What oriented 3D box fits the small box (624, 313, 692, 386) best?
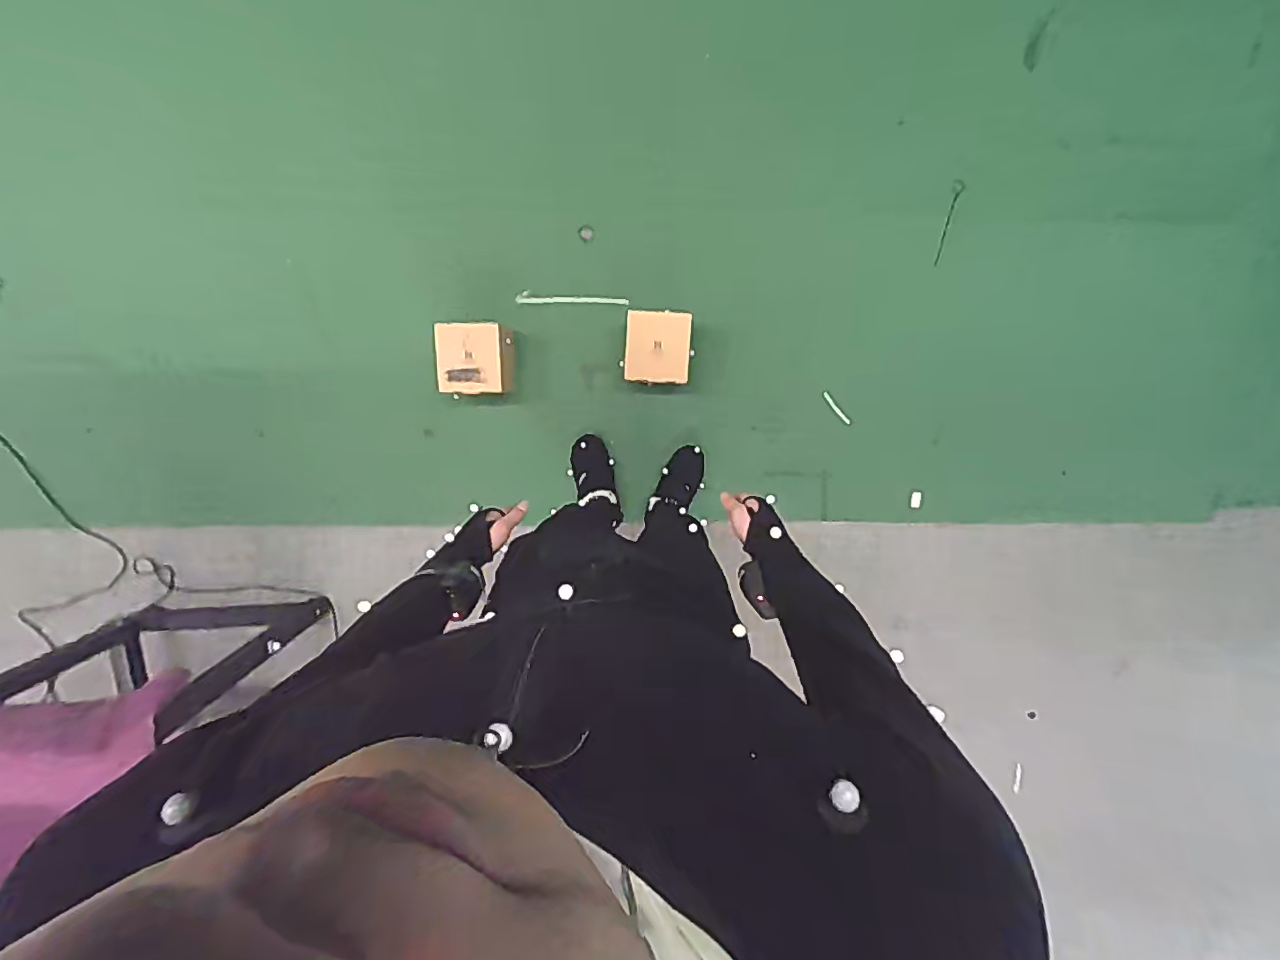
[{"bbox_3d":[0.044,-0.348,1.459,0.168,0.176,0.179,2,101,-1],"label":"small box"}]
